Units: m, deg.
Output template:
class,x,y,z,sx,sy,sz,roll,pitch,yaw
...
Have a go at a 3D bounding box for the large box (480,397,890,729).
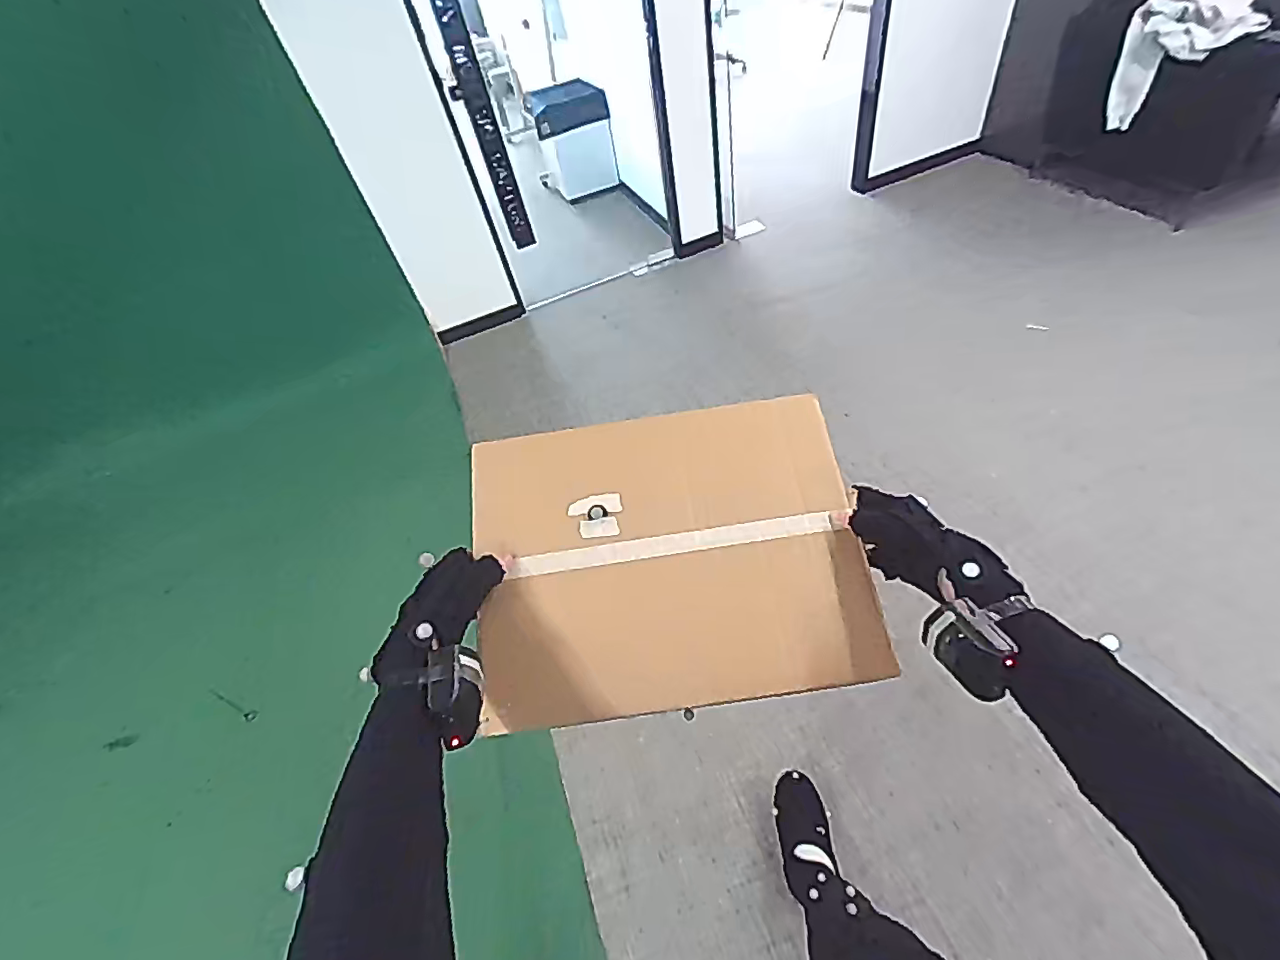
class,x,y,z,sx,sy,sz,roll,pitch,yaw
large box,0.040,0.128,0.717,0.408,0.320,0.320,-9,66,1
